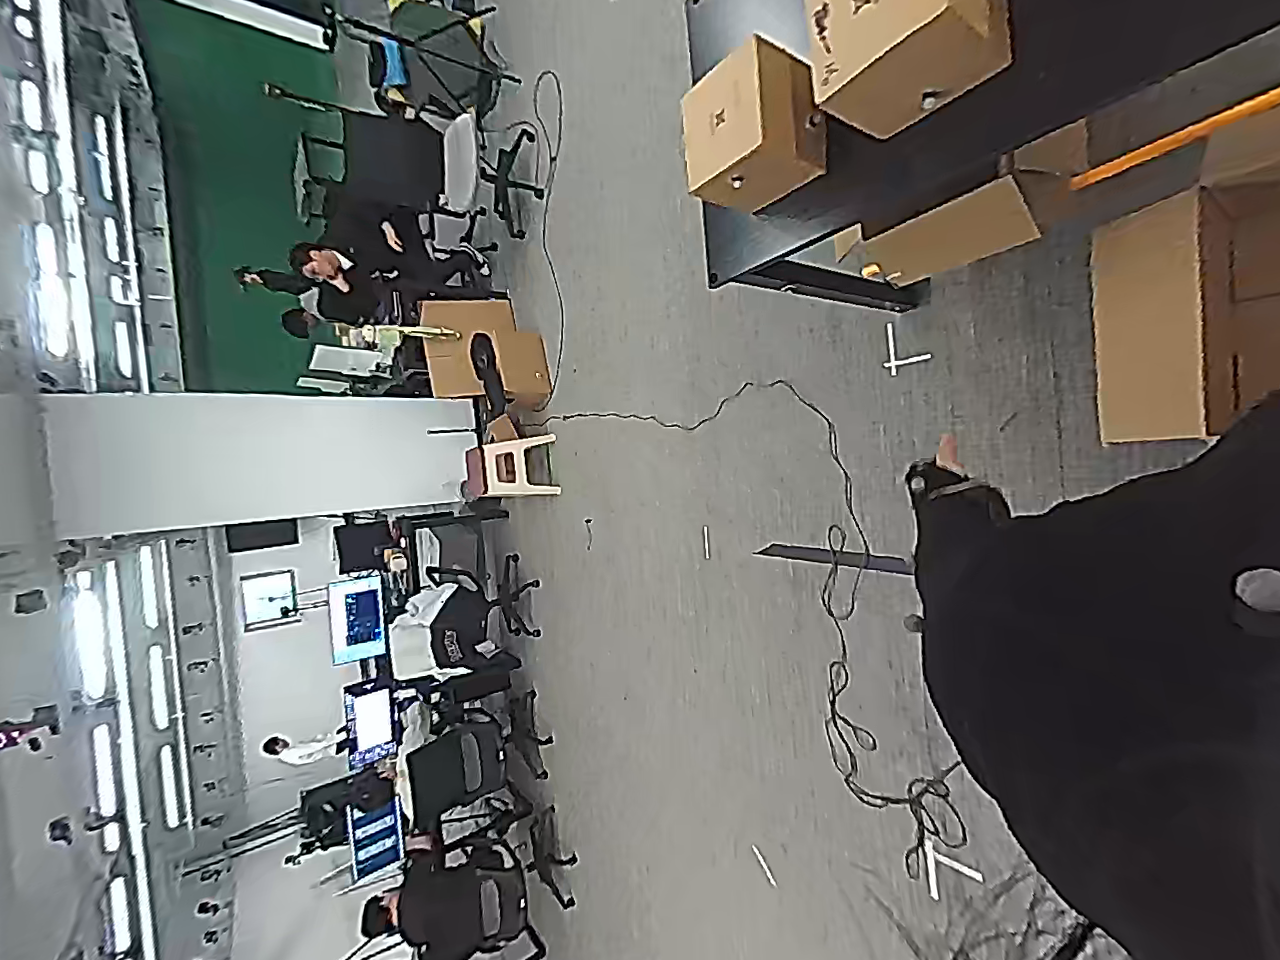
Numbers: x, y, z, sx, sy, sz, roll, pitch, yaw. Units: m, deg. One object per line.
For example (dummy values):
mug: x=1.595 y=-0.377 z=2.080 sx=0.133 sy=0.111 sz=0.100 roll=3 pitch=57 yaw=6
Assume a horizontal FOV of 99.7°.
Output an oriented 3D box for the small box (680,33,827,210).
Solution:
small box: x=0.189 y=-0.582 z=0.910 sx=0.179 sy=0.176 sz=0.168 roll=-1 pitch=95 yaw=54

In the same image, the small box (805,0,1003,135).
small box: x=0.340 y=-0.590 z=0.695 sx=0.179 sy=0.176 sz=0.168 roll=-6 pitch=90 yaw=54
